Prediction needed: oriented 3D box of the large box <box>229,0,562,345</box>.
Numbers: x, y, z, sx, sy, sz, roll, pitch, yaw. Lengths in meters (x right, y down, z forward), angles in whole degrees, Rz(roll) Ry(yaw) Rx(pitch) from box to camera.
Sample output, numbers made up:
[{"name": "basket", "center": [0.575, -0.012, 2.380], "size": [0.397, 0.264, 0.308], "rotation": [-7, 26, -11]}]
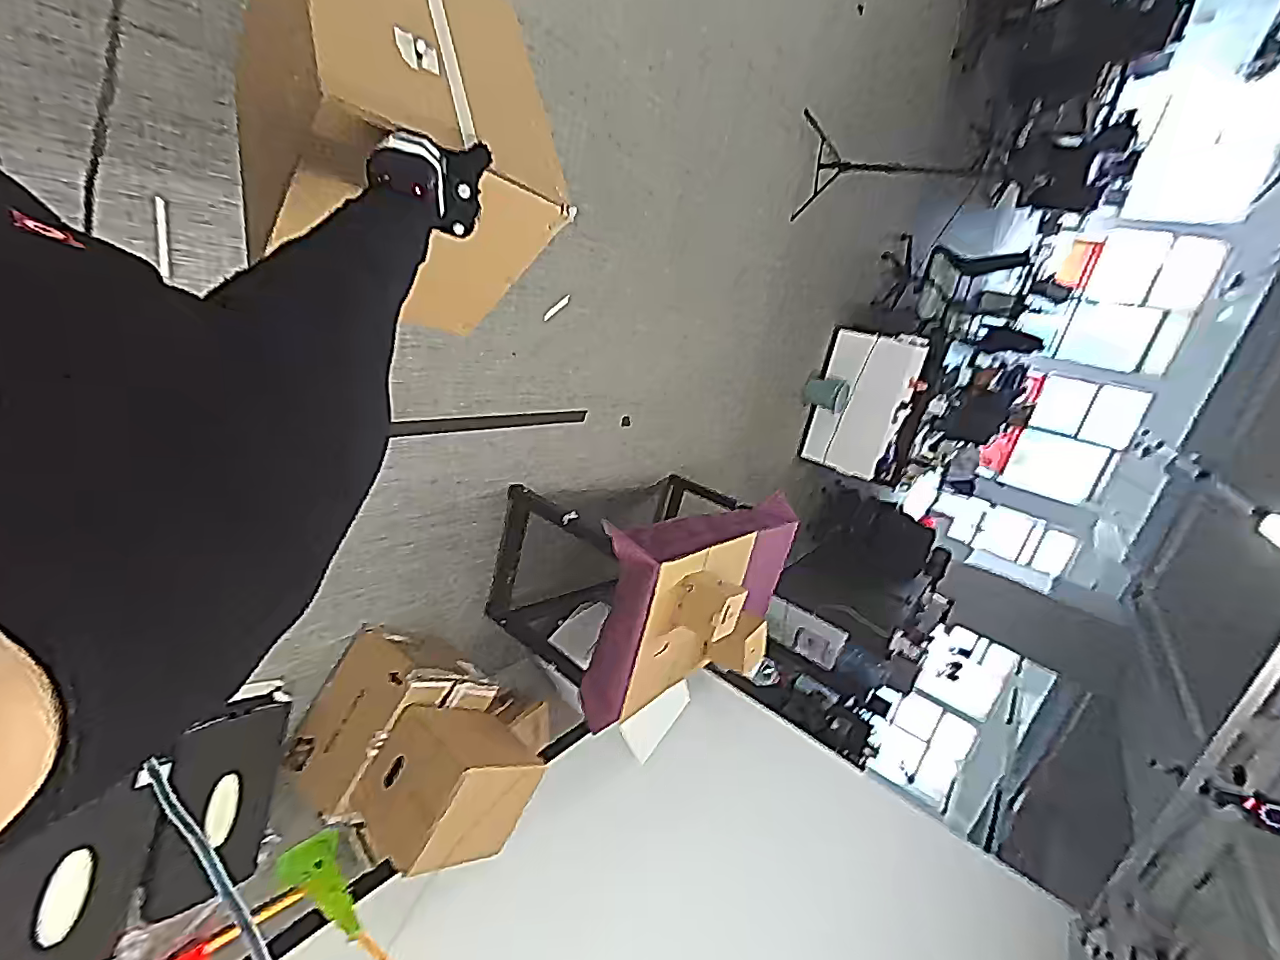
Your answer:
[{"name": "large box", "center": [-0.370, -0.475, 0.800], "size": [0.320, 0.320, 0.408], "rotation": [1, 68, -48]}]
